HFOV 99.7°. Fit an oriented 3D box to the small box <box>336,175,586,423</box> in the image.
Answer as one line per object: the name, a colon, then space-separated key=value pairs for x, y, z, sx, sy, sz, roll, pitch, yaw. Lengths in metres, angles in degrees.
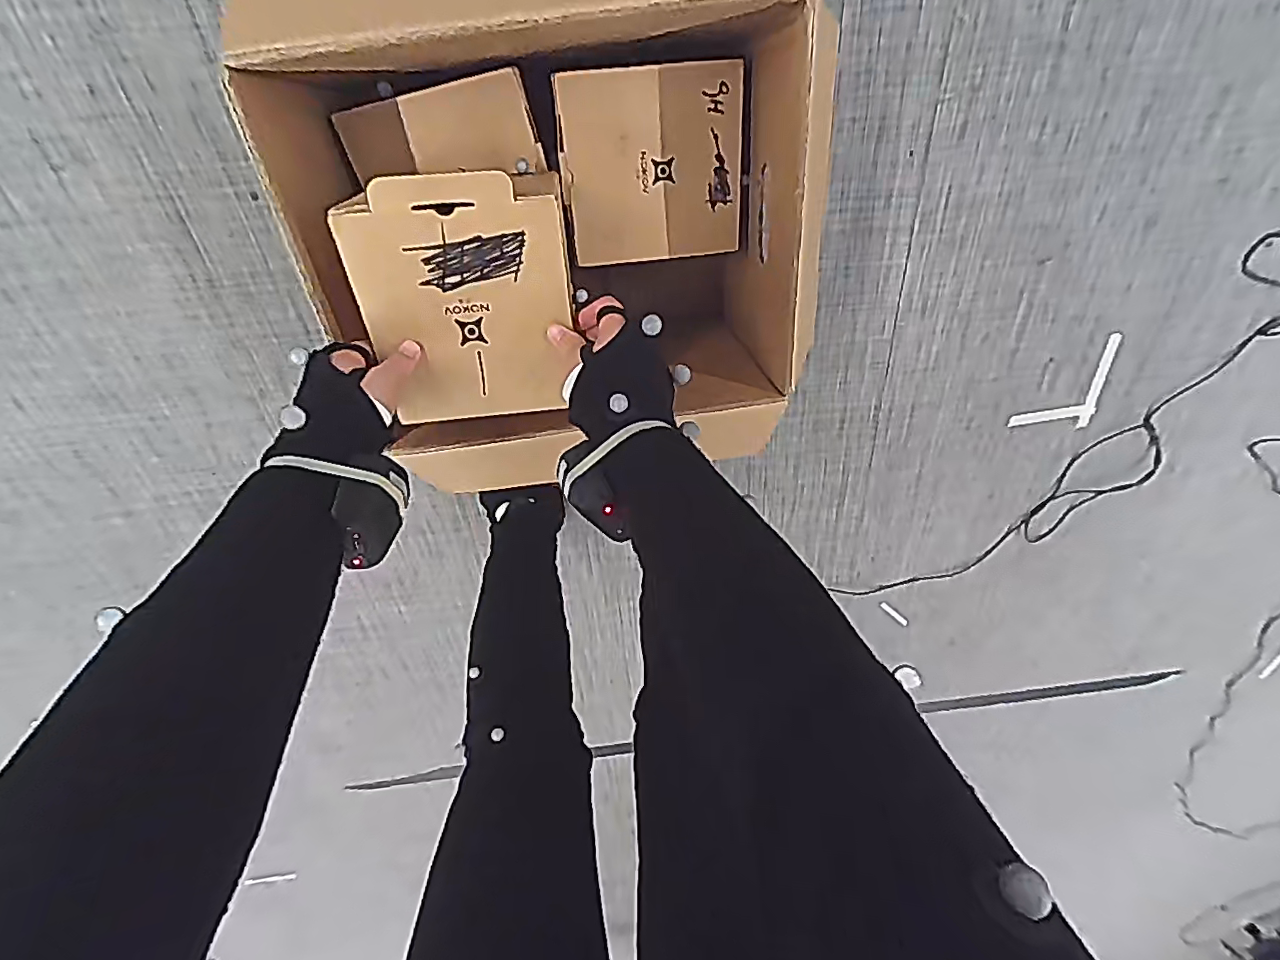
small box: x=-0.143 y=-0.174 z=0.497 sx=0.168 sy=0.176 sz=0.179 roll=-6 pitch=126 yaw=-4
